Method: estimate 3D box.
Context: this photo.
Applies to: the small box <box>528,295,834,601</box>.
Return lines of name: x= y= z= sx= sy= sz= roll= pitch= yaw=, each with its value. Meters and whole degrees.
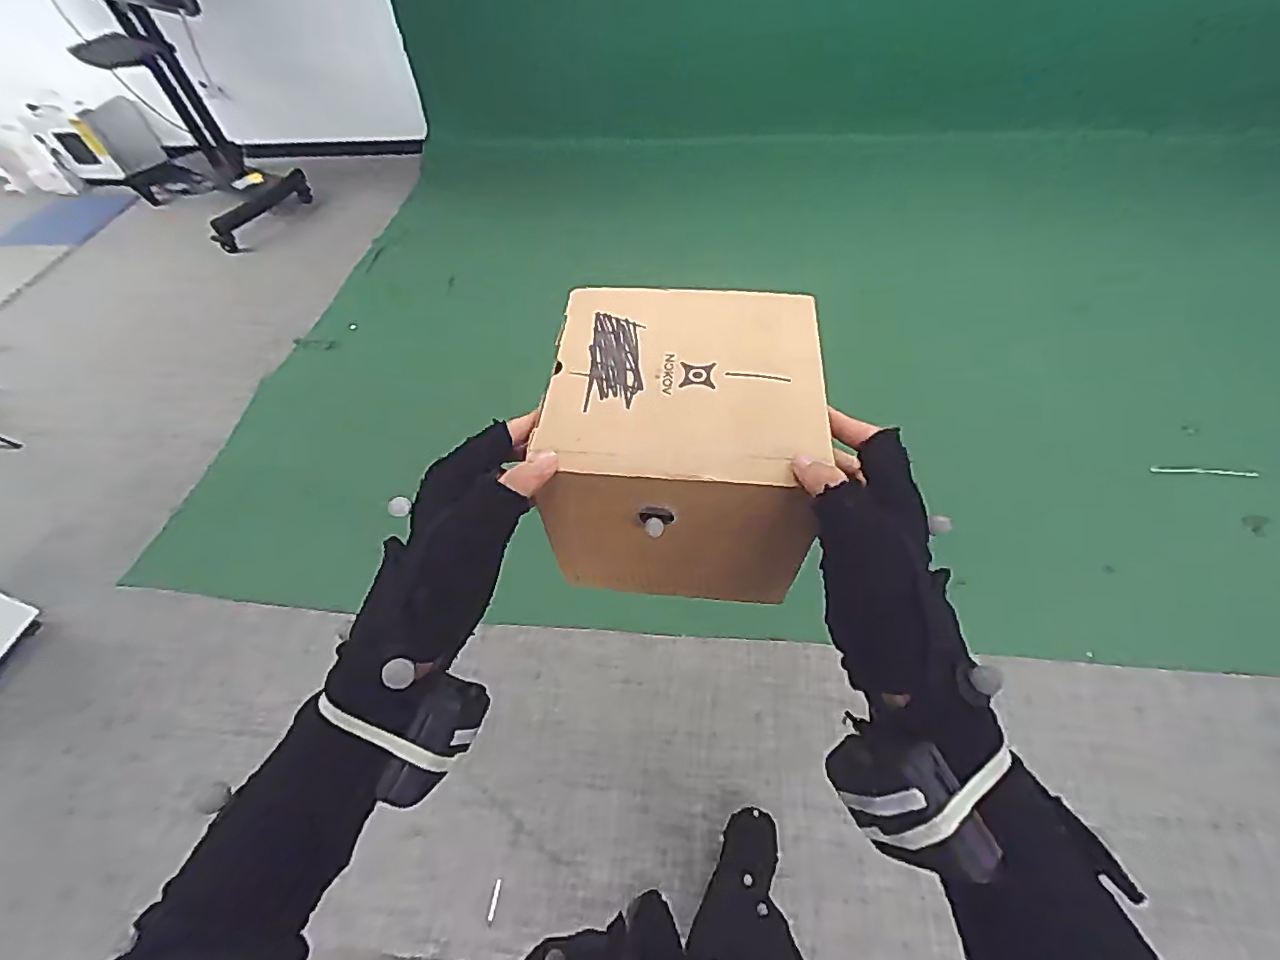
small box: x=0.033 y=-0.018 z=0.412 sx=0.179 sy=0.176 sz=0.168 roll=4 pitch=56 yaw=5
